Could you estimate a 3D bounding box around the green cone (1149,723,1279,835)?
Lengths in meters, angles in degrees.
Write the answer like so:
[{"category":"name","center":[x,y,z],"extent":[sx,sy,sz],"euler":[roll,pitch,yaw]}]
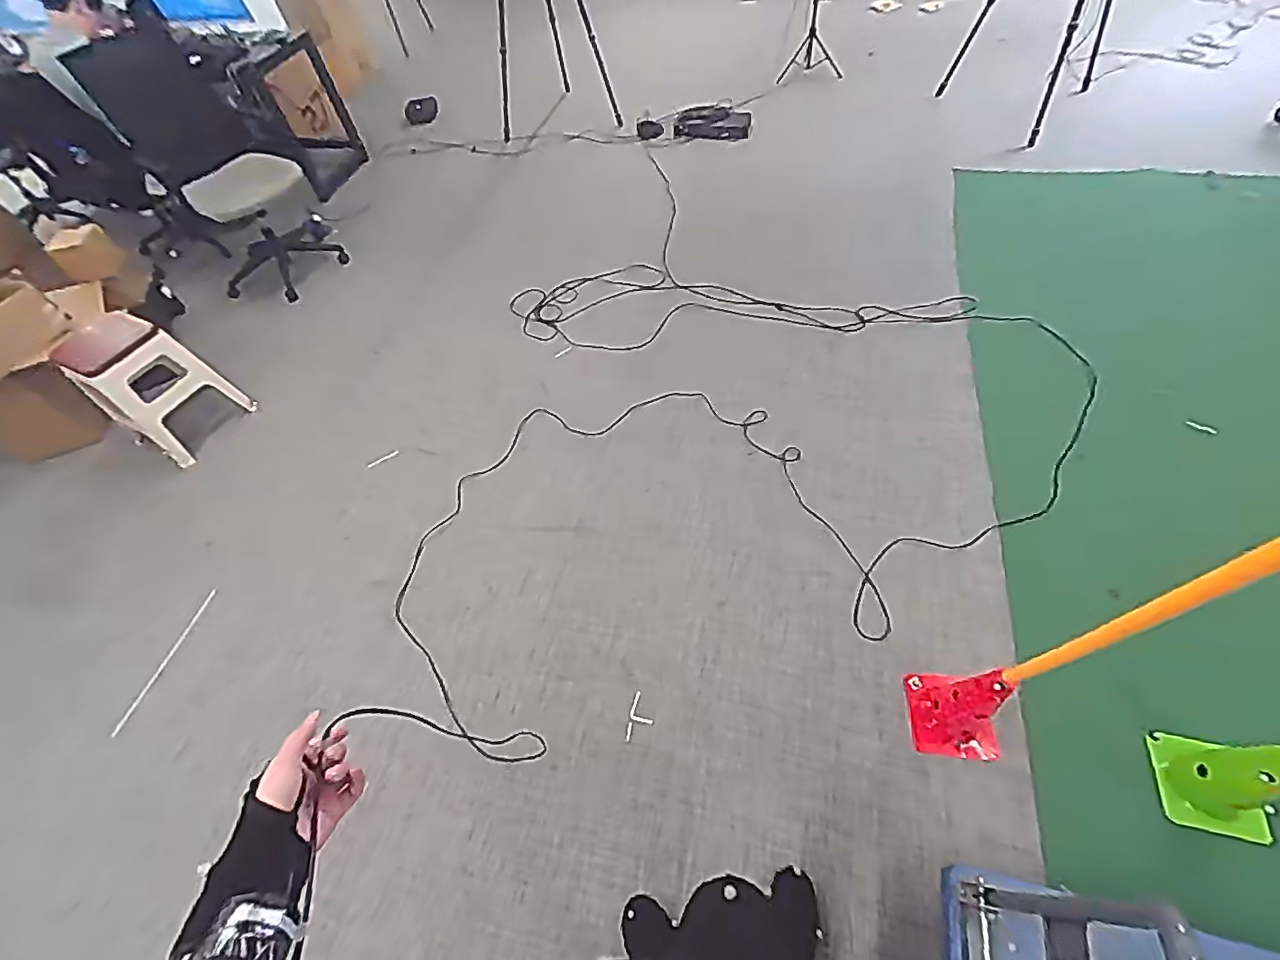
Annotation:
[{"category":"green cone","center":[1.303,0.587,1.116],"extent":[0.202,0.368,0.200],"euler":[8,56,12]}]
